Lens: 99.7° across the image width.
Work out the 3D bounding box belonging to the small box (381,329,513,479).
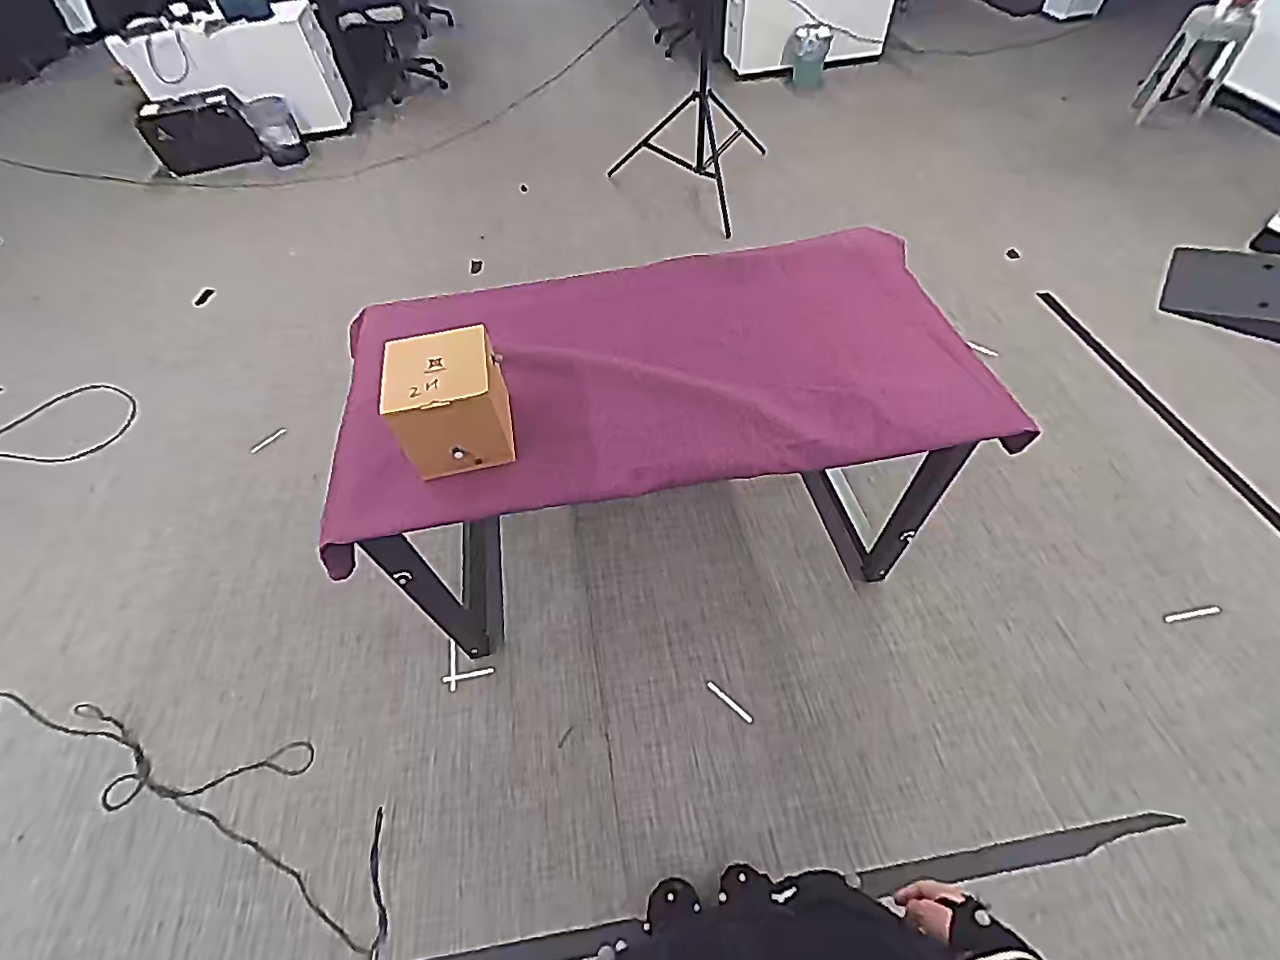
[{"bbox_3d":[-0.323,-0.129,0.932,0.168,0.176,0.179,-12,54,-5],"label":"small box"}]
